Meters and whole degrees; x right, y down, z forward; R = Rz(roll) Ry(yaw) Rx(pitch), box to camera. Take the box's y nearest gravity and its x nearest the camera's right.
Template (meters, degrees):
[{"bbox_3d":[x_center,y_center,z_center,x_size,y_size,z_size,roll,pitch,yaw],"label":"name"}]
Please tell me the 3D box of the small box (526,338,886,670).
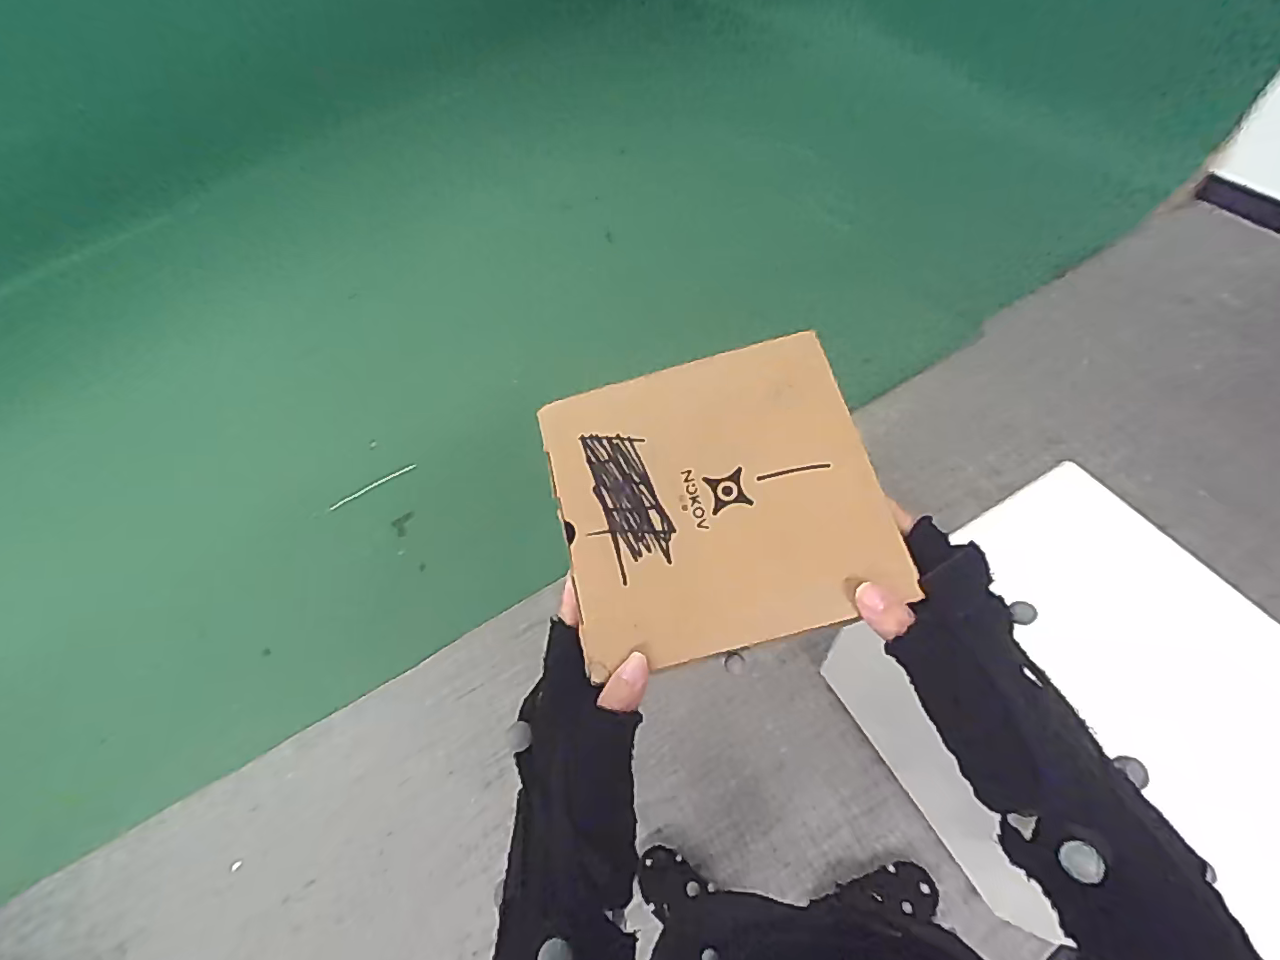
[{"bbox_3d":[0.038,0.034,0.385,0.179,0.176,0.168,-15,69,2],"label":"small box"}]
